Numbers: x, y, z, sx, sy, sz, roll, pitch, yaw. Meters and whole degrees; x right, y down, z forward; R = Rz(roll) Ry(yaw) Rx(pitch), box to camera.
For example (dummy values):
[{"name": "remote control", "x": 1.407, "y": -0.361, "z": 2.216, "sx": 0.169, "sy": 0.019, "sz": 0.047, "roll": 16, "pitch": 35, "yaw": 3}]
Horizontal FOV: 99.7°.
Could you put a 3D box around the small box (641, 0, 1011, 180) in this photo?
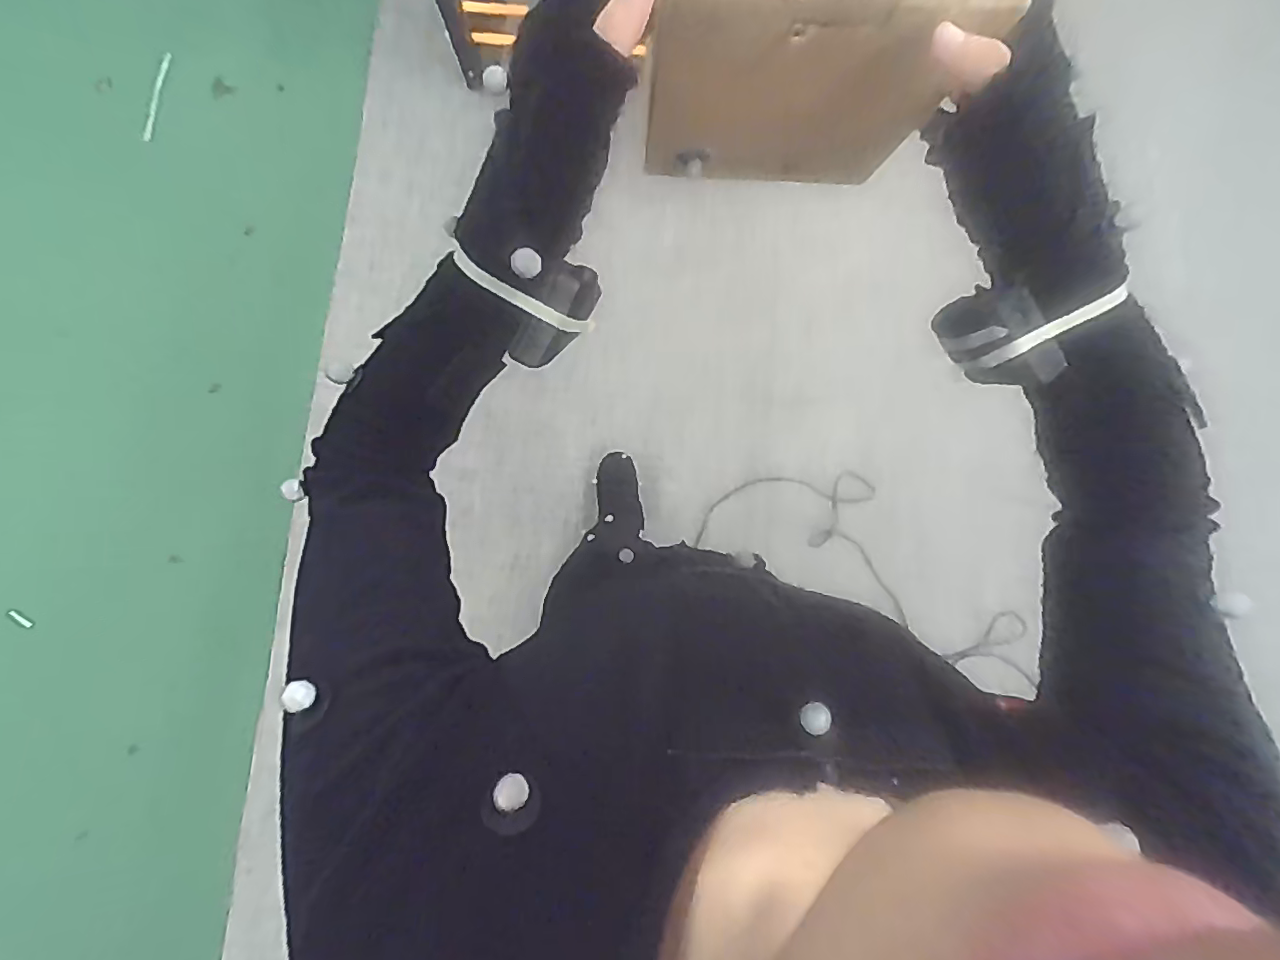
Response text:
[{"name": "small box", "x": 0.088, "y": -0.304, "z": 0.316, "sx": 0.168, "sy": 0.176, "sz": 0.179, "roll": 1, "pitch": 91, "yaw": -3}]
